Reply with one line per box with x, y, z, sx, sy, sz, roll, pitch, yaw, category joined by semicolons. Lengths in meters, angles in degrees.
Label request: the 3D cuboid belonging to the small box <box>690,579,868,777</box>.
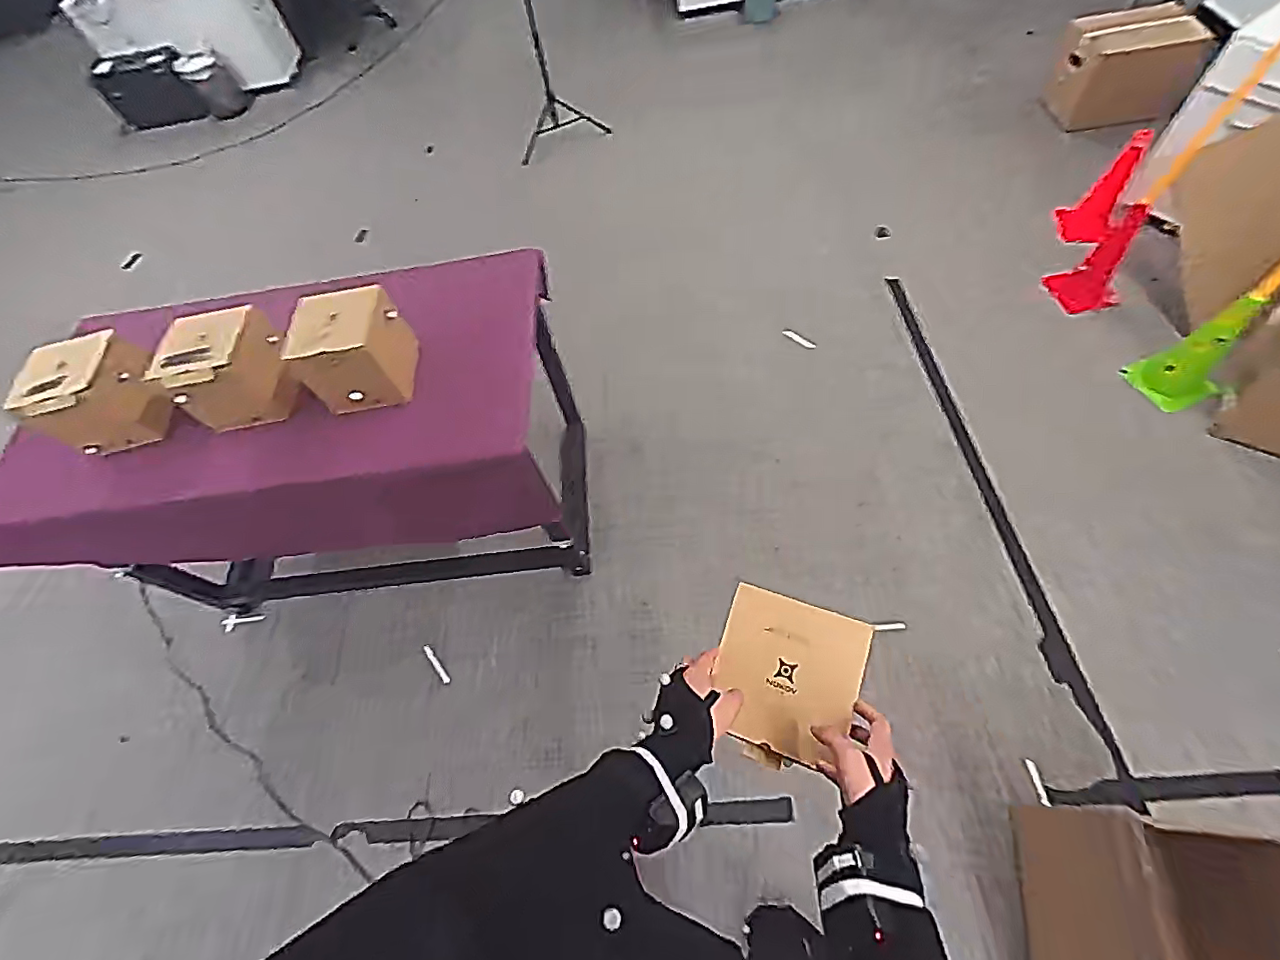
0.176;0.248;0.701;0.168;0.176;0.179;17;75;15;small box

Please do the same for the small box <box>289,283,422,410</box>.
-0.568;-0.269;1.107;0.168;0.176;0.179;-8;60;4;small box

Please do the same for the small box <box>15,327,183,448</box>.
-1.119;-0.186;1.139;0.168;0.176;0.179;-15;59;-1;small box
